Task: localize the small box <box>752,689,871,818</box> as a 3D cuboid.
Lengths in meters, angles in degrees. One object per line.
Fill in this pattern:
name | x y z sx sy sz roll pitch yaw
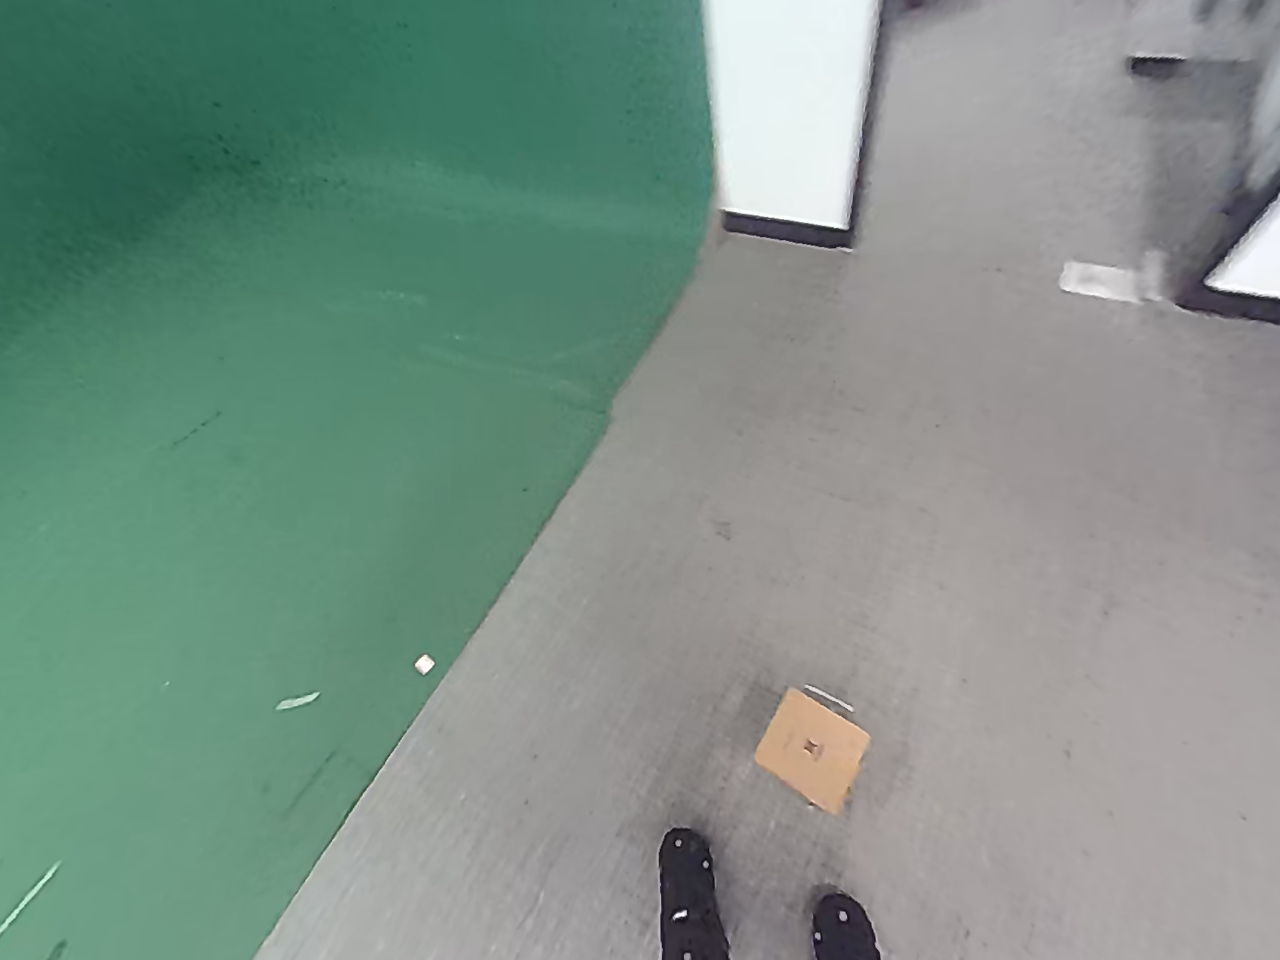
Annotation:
small box | 0.351 0.567 1.124 0.179 0.176 0.168 26 68 26
